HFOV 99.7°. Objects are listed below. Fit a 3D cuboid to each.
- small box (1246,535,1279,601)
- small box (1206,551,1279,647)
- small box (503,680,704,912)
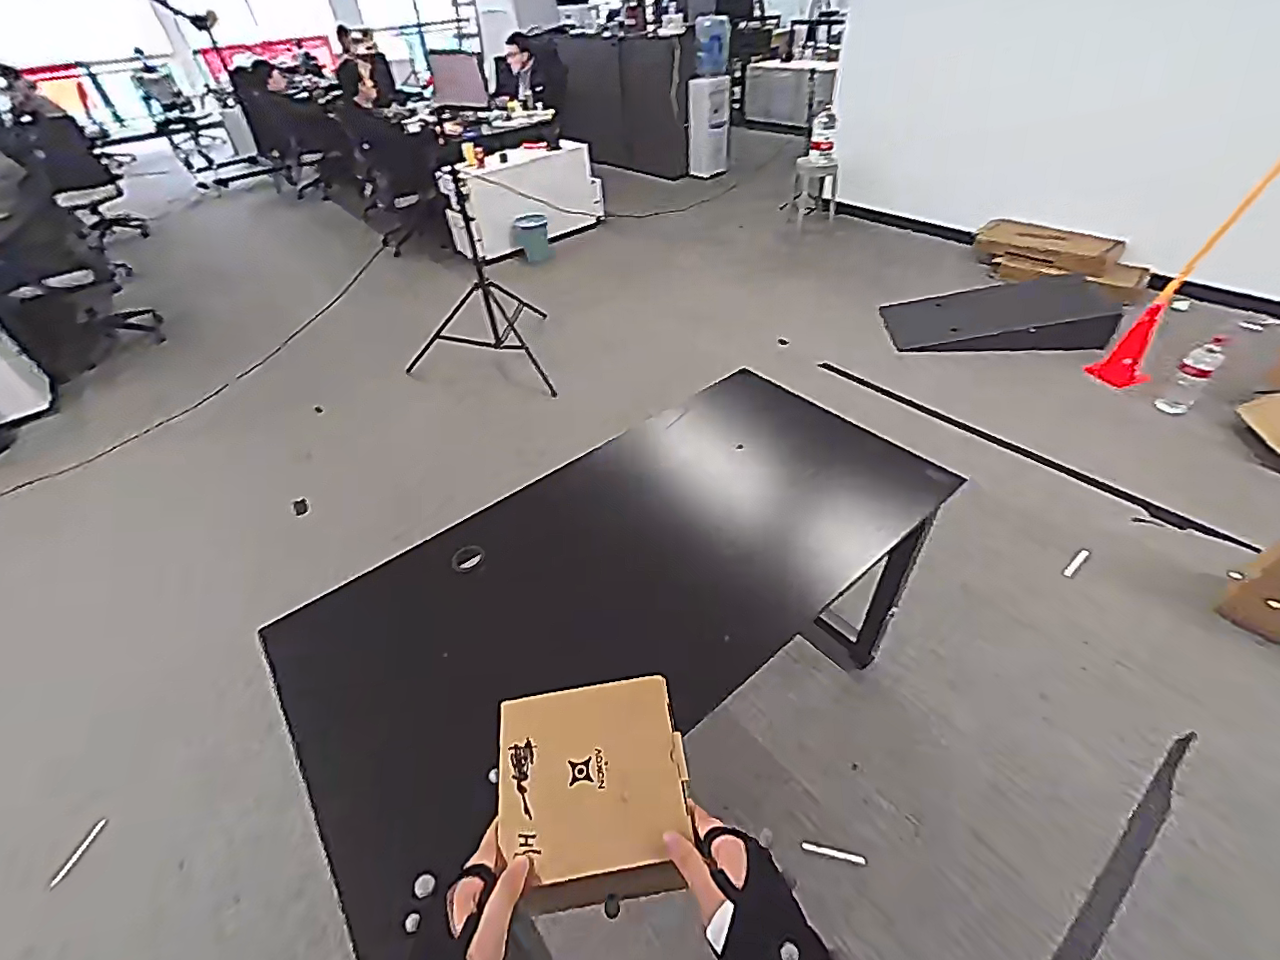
[{"bbox_3d":[1.807,0.233,1.454,0.179,0.176,0.168,-32,49,-25],"label":"small box"},{"bbox_3d":[1.820,0.349,1.570,0.168,0.176,0.179,-31,50,-25],"label":"small box"},{"bbox_3d":[-0.039,0.336,0.574,0.179,0.176,0.168,-7,45,-4],"label":"small box"}]
